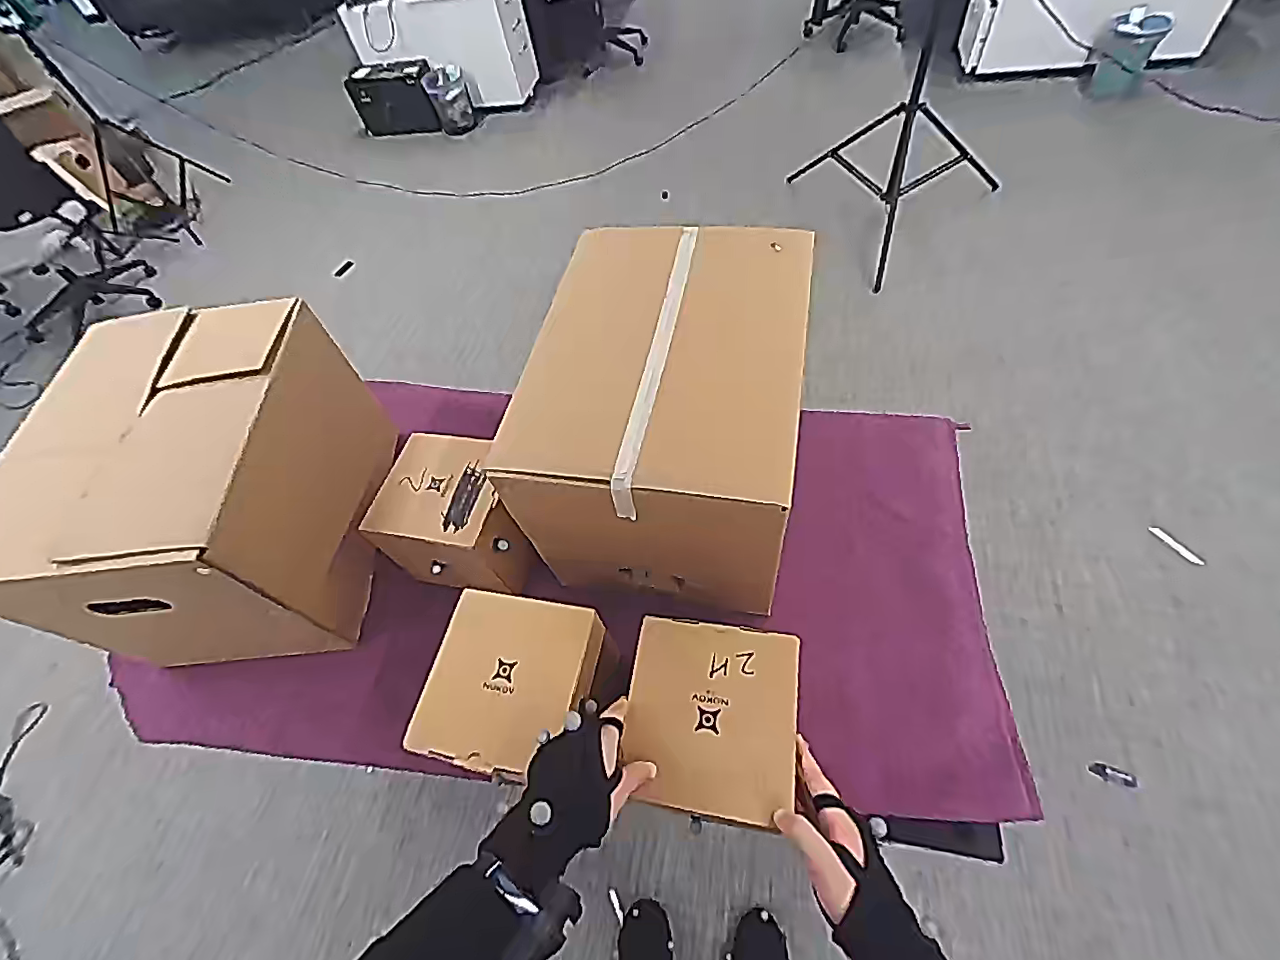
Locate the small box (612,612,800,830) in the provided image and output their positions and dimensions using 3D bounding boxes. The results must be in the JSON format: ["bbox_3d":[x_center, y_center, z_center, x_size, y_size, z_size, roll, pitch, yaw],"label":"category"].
[{"bbox_3d":[0.080,0.265,0.589,0.168,0.176,0.179,5,57,13],"label":"small box"}]
